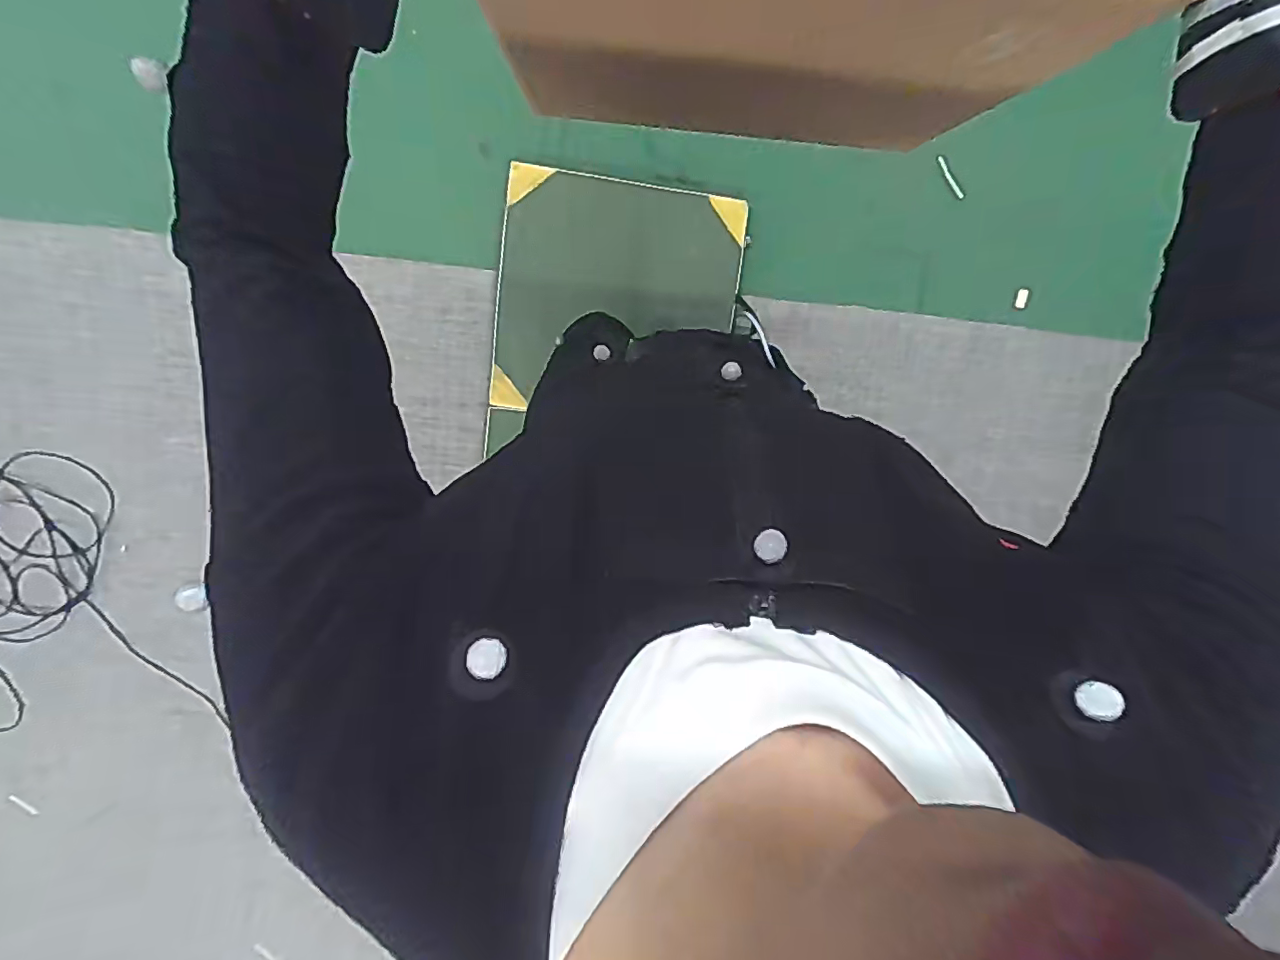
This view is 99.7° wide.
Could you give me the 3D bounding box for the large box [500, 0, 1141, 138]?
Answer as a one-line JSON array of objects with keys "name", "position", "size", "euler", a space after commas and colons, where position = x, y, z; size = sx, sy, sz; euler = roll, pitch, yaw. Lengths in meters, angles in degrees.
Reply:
[{"name": "large box", "position": [0.105, -0.469, 0.379], "size": [0.408, 0.320, 0.320], "euler": [3, 109, -4]}]
